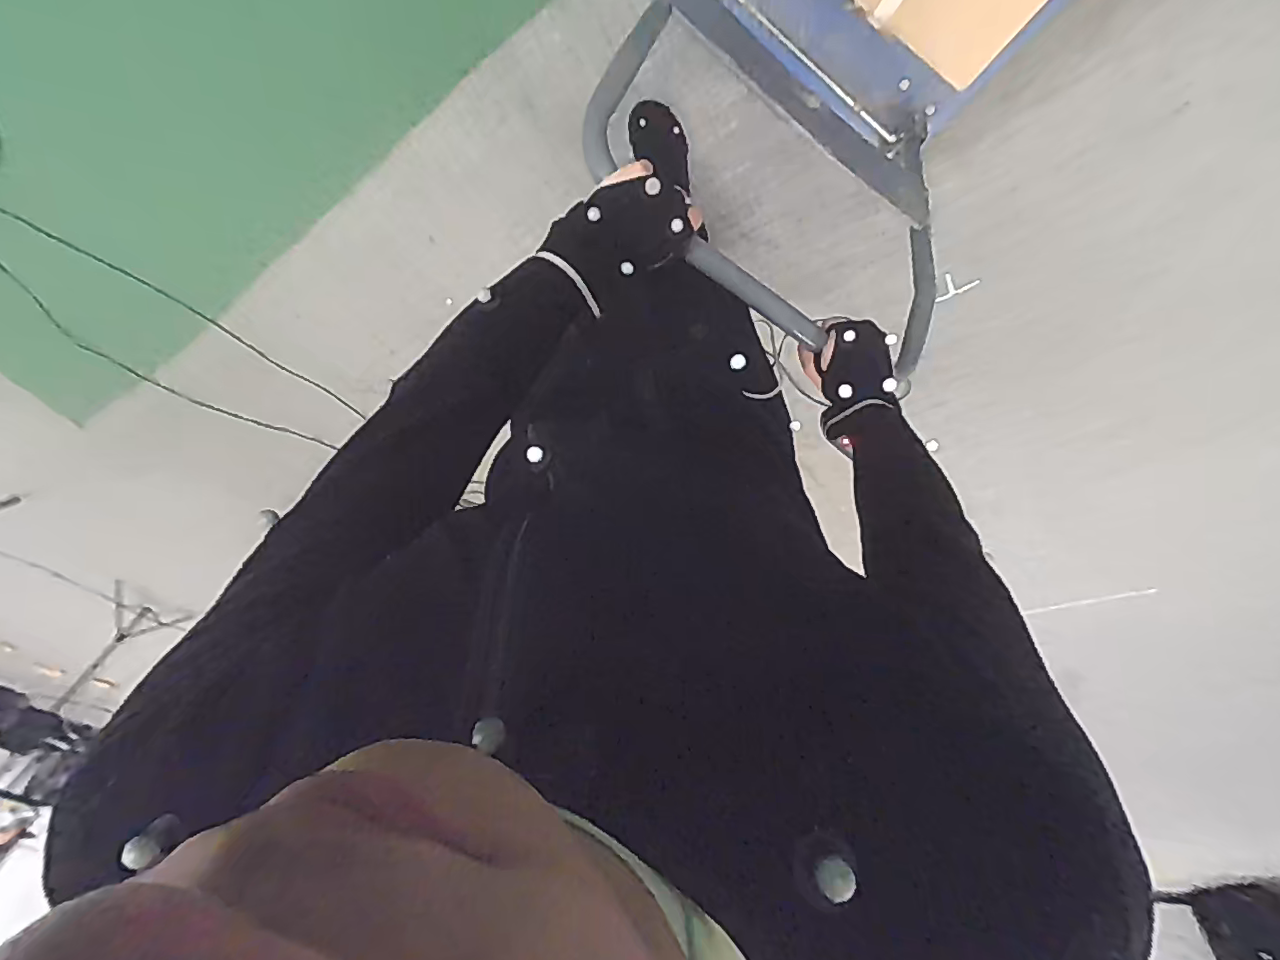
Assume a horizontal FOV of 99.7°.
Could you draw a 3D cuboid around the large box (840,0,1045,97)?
[{"bbox_3d":[0.424,-0.794,0.645,0.320,0.320,0.408,28,141,-16],"label":"large box"}]
